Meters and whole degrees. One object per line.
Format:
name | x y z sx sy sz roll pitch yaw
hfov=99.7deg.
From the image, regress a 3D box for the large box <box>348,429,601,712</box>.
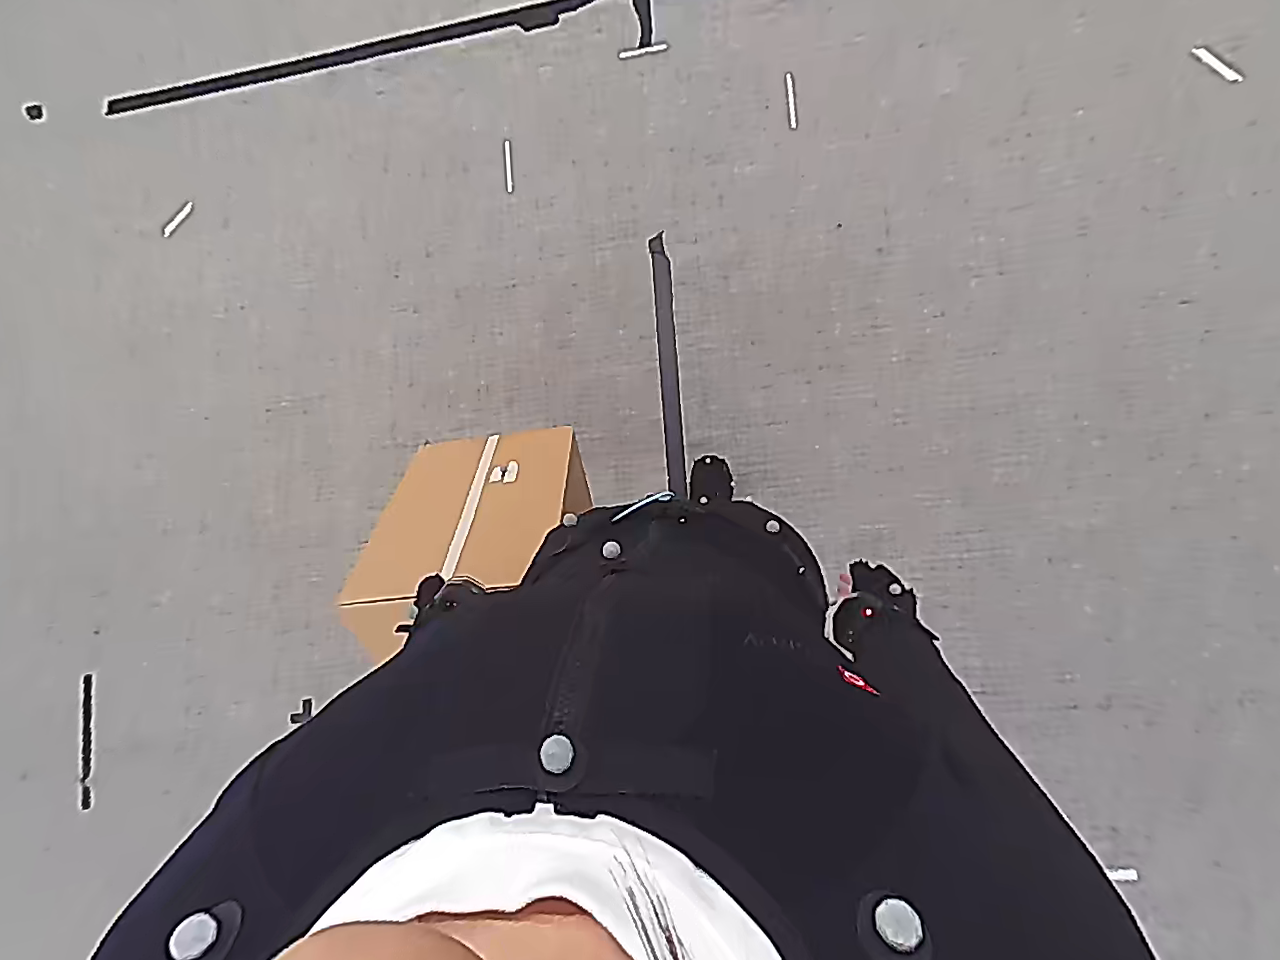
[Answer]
large box | -0.256 0.156 1.010 0.320 0.408 0.320 -7 126 4
